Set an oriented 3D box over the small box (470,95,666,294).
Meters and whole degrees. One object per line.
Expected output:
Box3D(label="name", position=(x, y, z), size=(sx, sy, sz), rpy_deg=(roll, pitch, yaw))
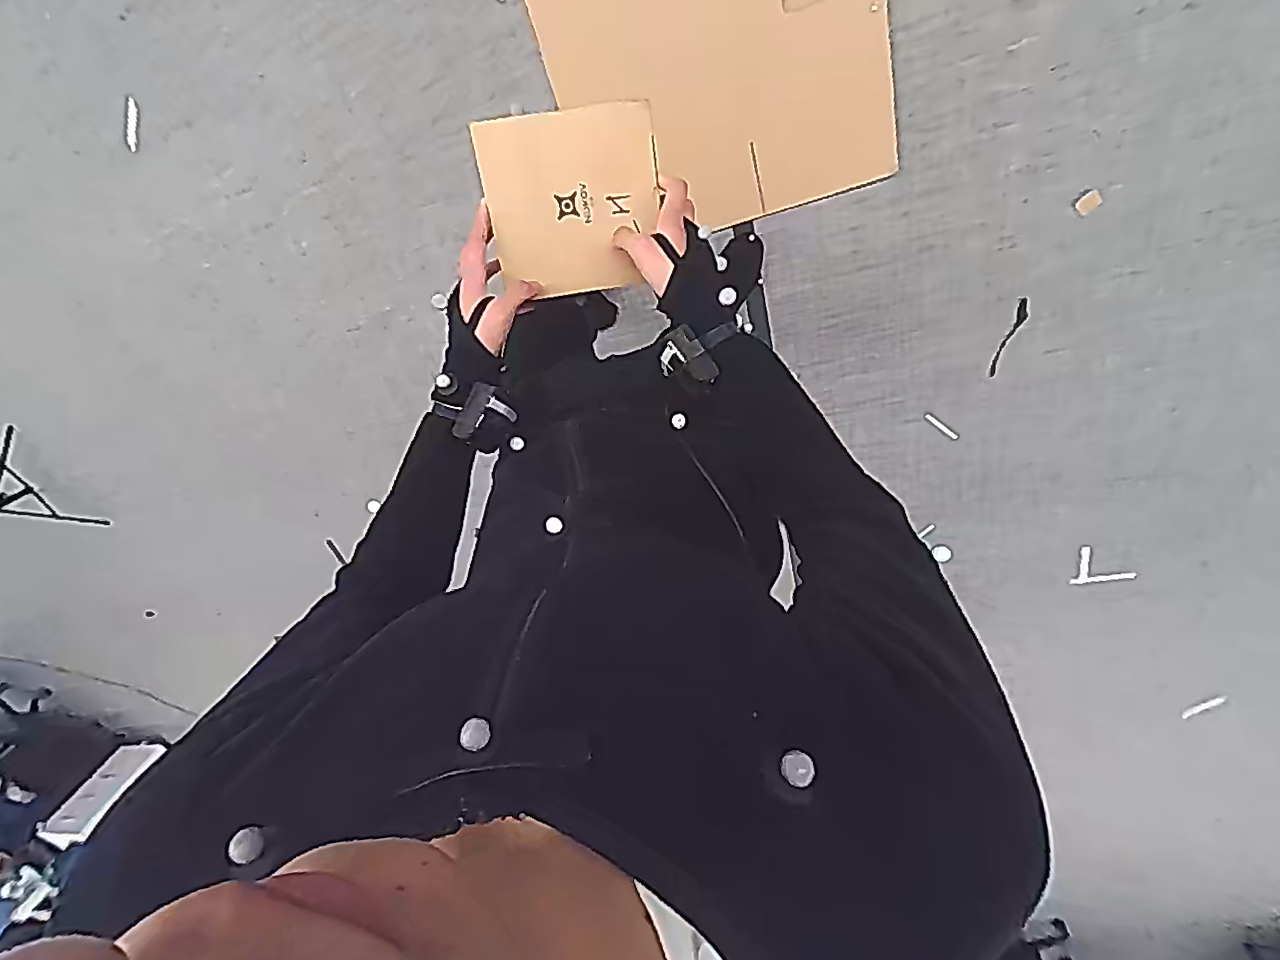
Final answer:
Box3D(label="small box", position=(-0.073, -0.310, 0.614), size=(0.179, 0.176, 0.168), rpy_deg=(-9, 114, -3))
